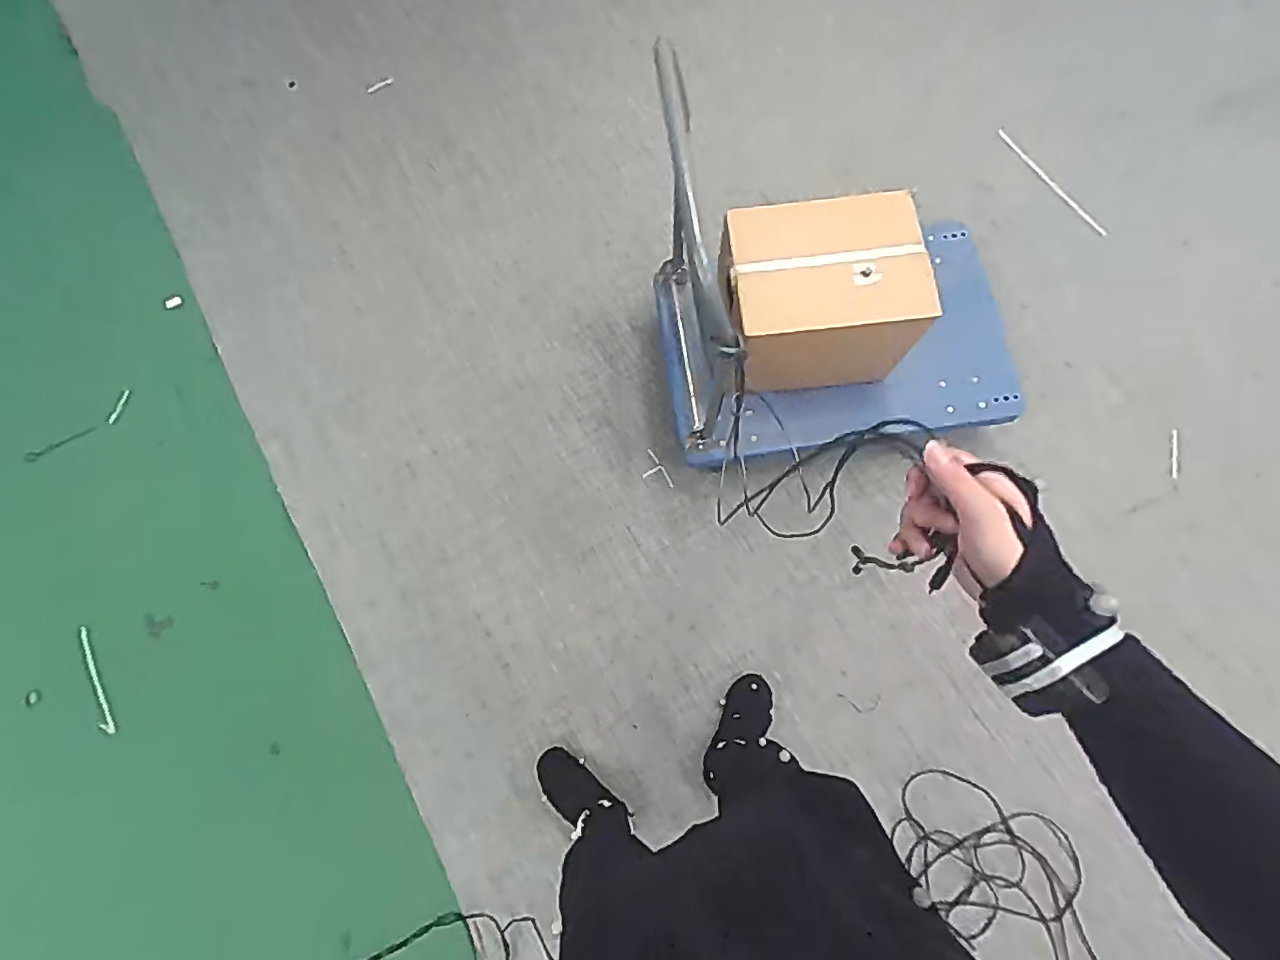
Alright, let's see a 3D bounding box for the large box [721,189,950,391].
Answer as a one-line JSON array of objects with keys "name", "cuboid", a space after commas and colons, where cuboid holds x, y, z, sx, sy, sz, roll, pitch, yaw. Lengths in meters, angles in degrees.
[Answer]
[{"name": "large box", "cuboid": [0.423, -0.426, 1.275, 0.408, 0.320, 0.320, -5, 76, 1]}]
